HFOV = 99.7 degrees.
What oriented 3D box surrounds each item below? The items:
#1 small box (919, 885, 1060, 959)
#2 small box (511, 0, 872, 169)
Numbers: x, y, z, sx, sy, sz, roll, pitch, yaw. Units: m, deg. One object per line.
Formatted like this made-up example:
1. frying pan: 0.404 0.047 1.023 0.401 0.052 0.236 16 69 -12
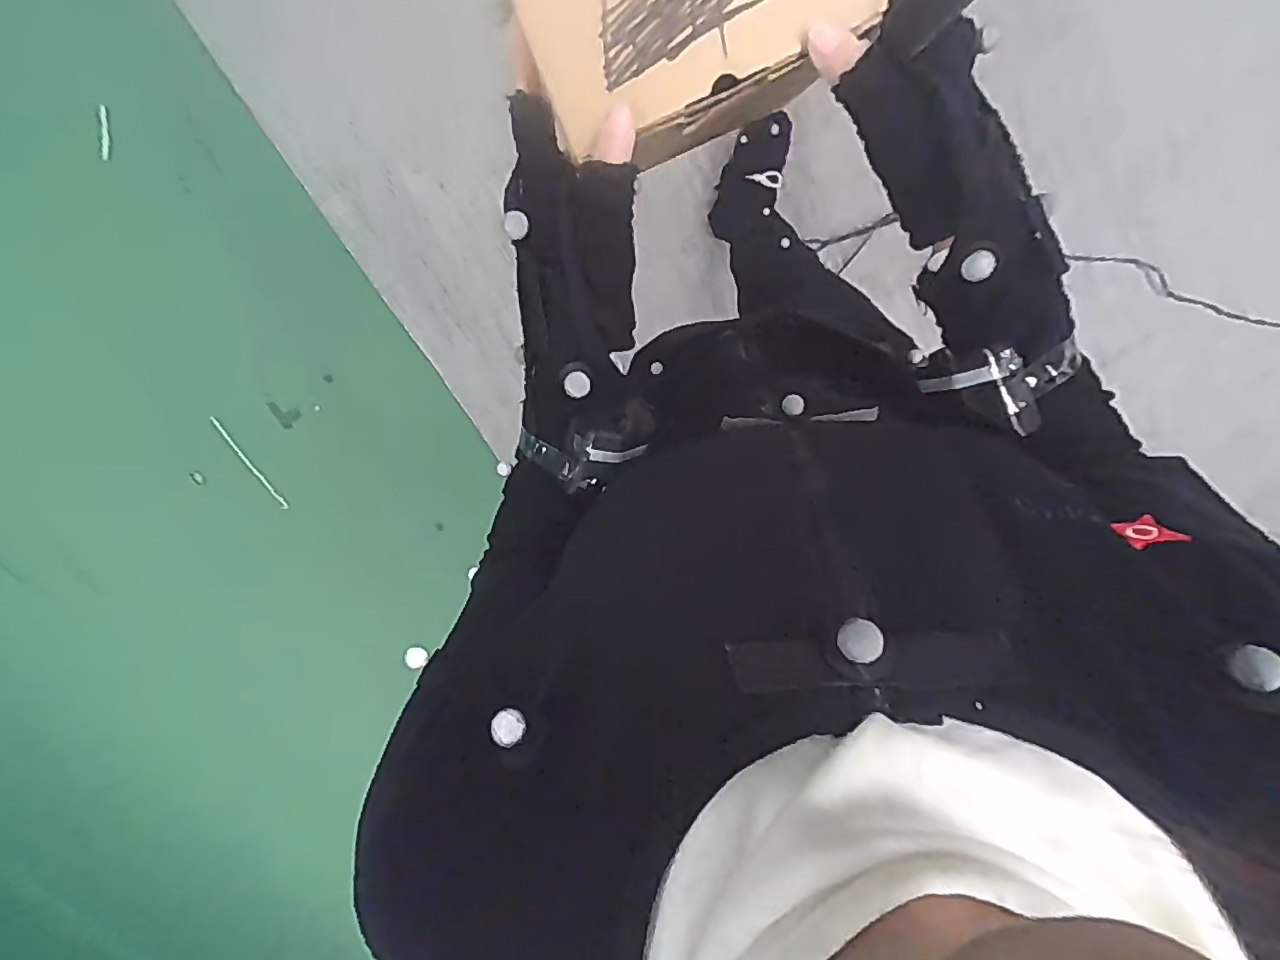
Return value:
1. small box: 0.594 0.804 0.885 0.179 0.176 0.168 -24 110 16
2. small box: 0.005 -0.306 0.314 0.168 0.176 0.179 -24 112 9
